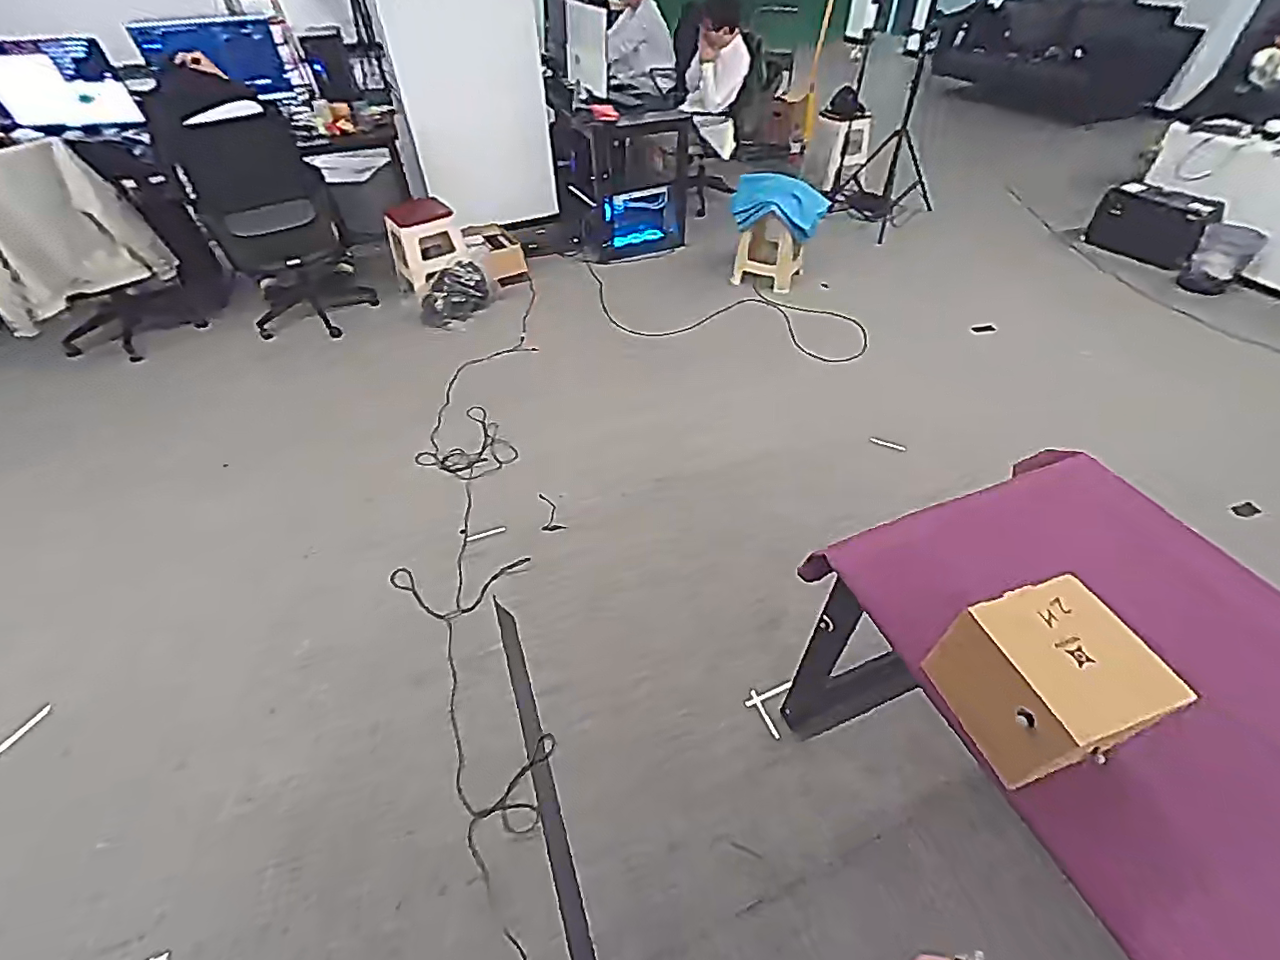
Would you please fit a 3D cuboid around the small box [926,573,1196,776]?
[{"bbox_3d":[0.512,0.254,0.691,0.168,0.176,0.179,-14,47,-11],"label":"small box"}]
